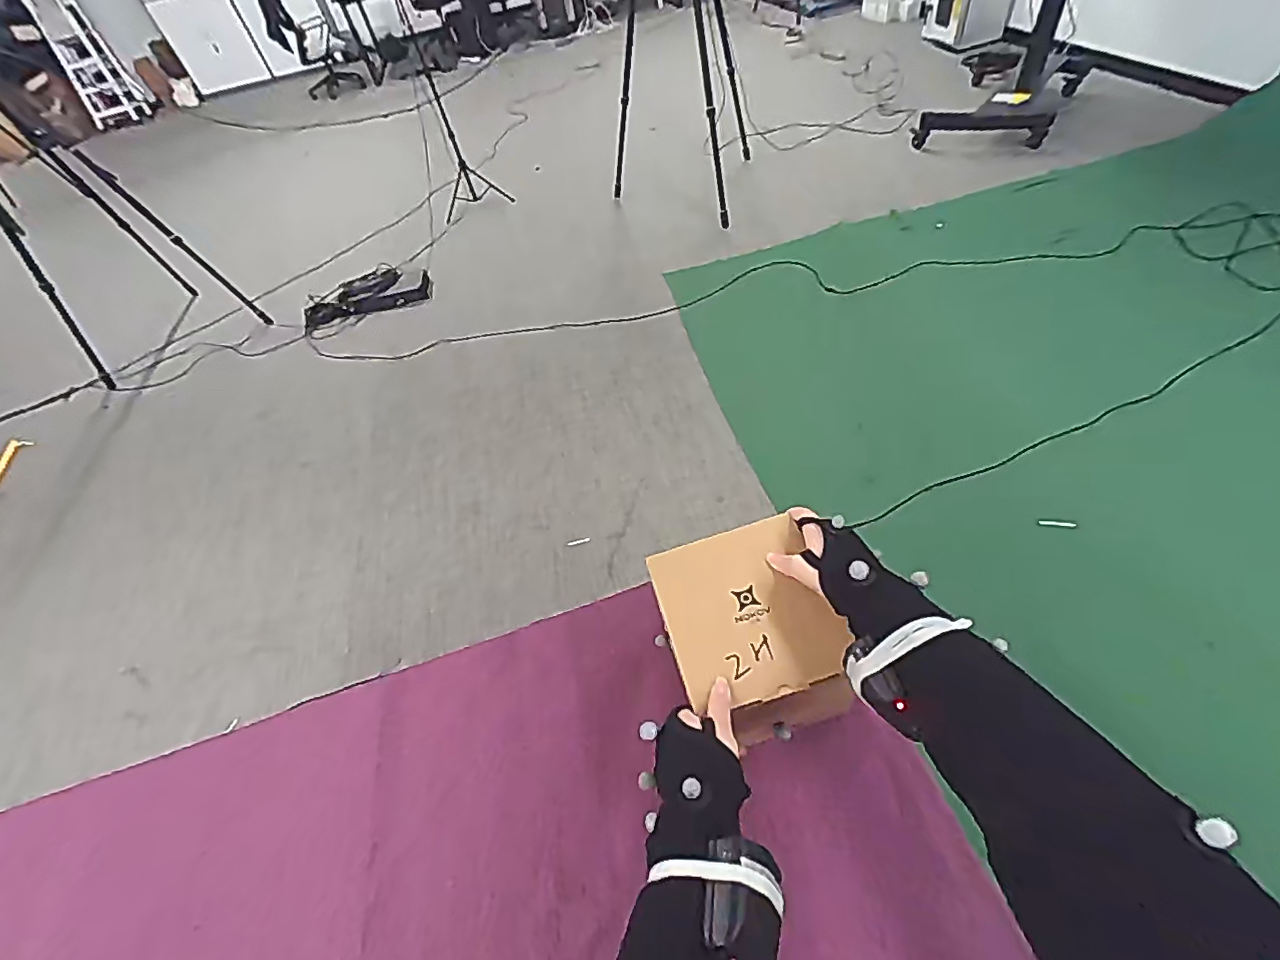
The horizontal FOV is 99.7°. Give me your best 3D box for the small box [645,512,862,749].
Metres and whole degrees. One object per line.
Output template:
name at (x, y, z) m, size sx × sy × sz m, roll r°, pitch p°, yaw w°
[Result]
small box at (0.113, 0.168, 0.592) m, size 0.168 × 0.176 × 0.179 m, roll -18°, pitch 53°, yaw -1°
